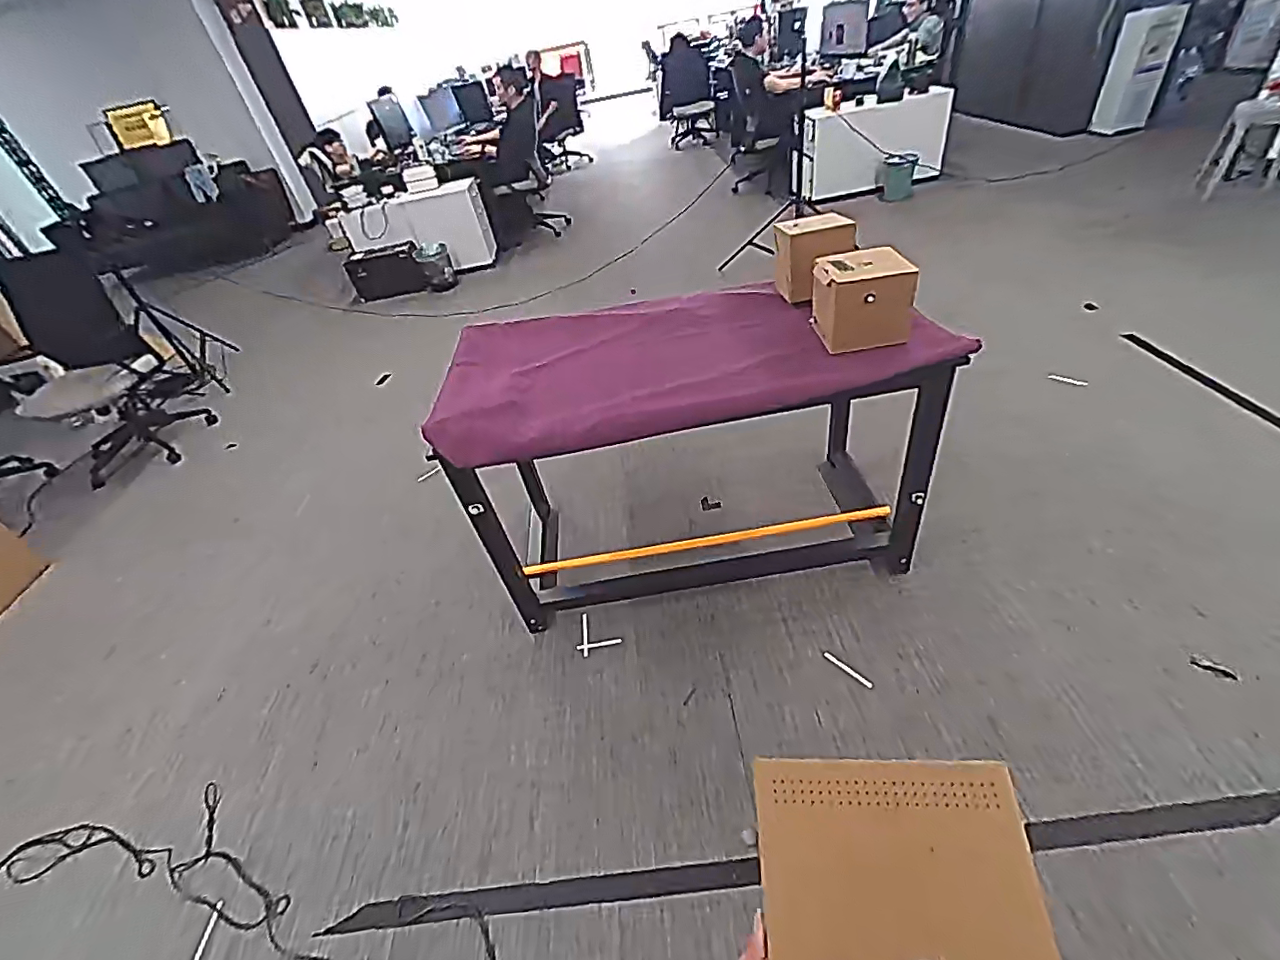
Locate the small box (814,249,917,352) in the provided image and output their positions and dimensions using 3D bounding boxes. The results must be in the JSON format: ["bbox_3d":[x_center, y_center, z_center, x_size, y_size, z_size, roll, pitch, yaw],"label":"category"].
[{"bbox_3d":[0.509,-0.411,1.248,0.179,0.176,0.168,-8,39,4],"label":"small box"}]
